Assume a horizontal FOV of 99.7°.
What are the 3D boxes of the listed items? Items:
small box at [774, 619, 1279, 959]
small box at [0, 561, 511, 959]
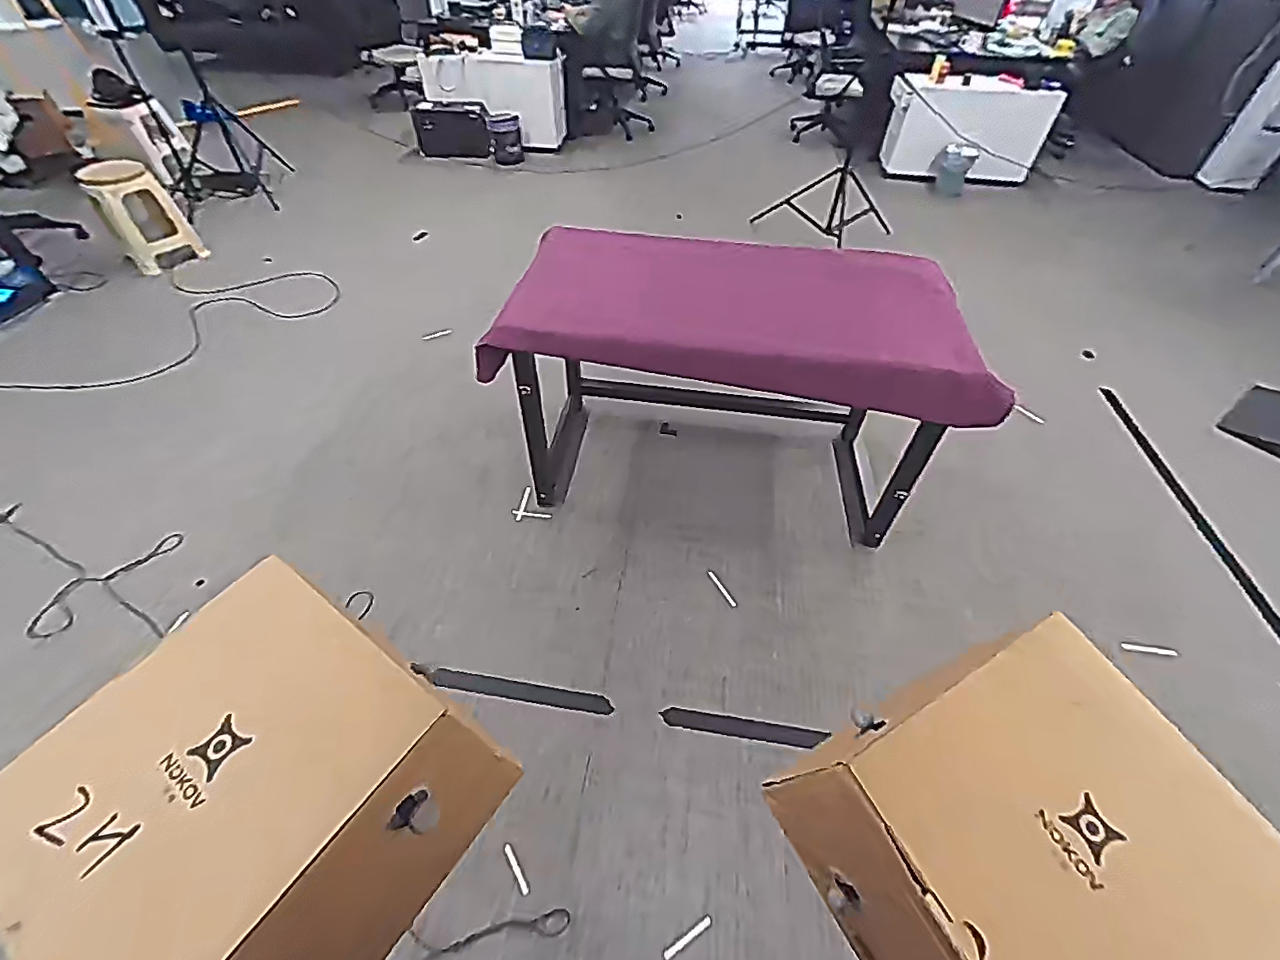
[{"bbox_3d":[0.214,0.218,0.337,0.179,0.176,0.168,-24,62,-19],"label":"small box"},{"bbox_3d":[-0.200,0.190,0.332,0.168,0.176,0.179,27,60,24],"label":"small box"}]
